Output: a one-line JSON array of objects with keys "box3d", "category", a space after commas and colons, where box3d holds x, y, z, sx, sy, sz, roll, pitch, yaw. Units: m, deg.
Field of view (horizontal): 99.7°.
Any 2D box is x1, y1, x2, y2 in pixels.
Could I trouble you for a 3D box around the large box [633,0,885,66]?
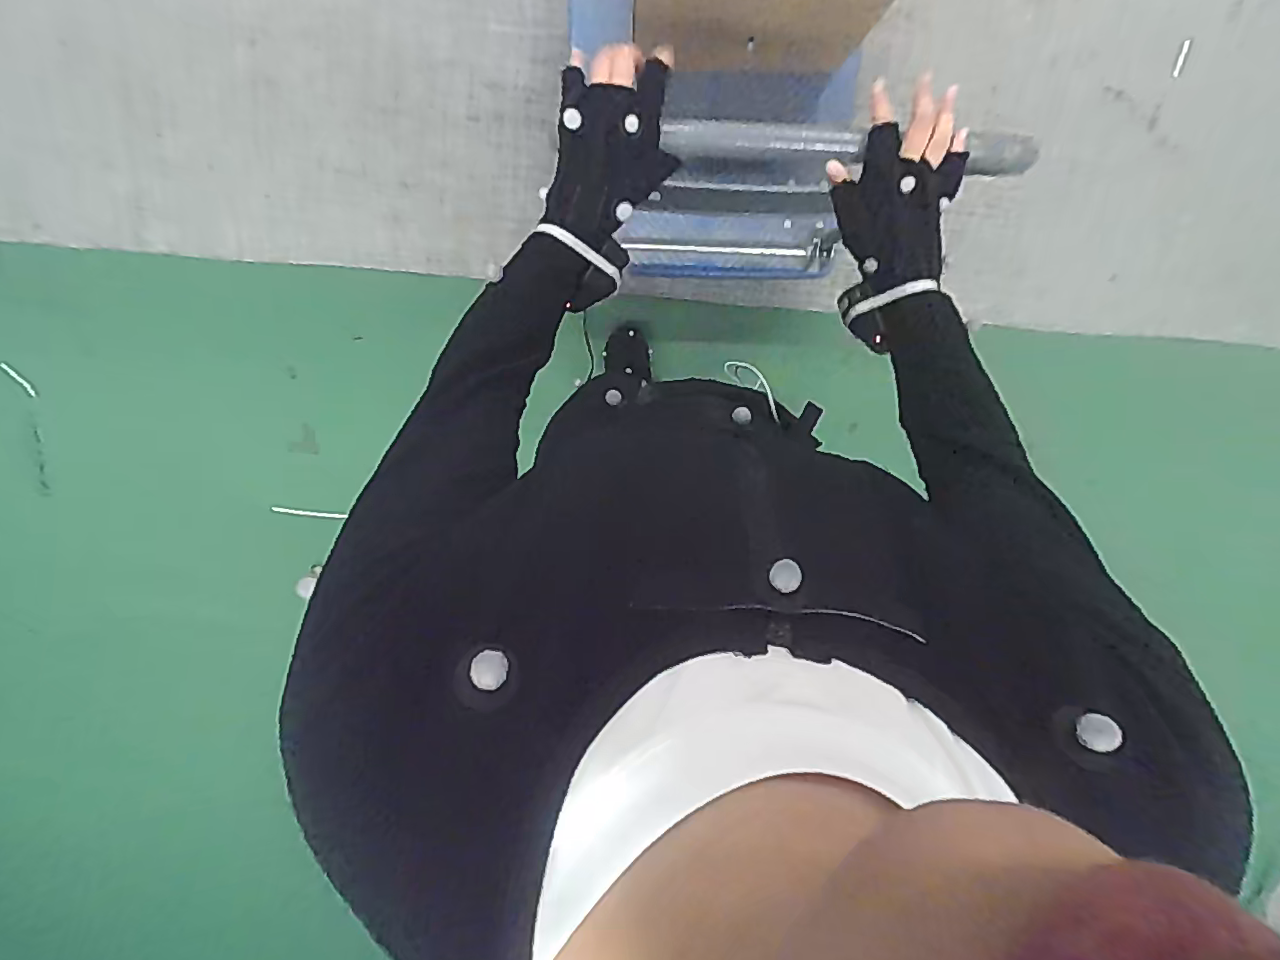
[{"box3d": [0.191, -0.926, 0.890, 0.408, 0.320, 0.320, -1, 106, -1], "category": "large box"}]
